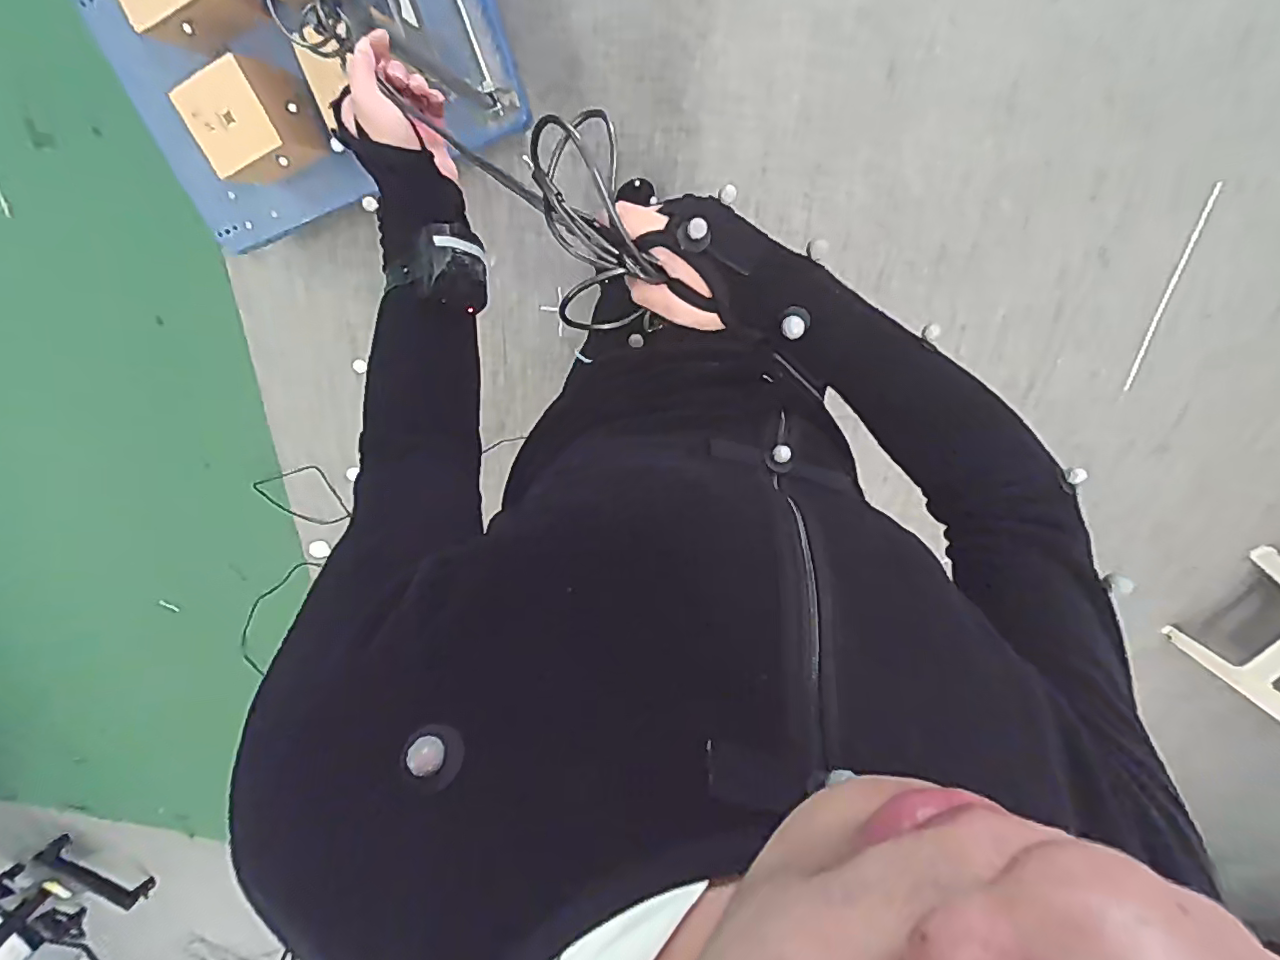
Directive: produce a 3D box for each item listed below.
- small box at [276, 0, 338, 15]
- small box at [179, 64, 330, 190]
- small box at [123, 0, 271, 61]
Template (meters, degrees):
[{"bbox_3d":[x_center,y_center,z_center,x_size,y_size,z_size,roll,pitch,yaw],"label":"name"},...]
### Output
[{"bbox_3d":[-0.657,-1.022,1.011,0.179,0.176,0.168,-12,114,13],"label":"small box"},{"bbox_3d":[-0.810,-0.746,1.163,0.179,0.176,0.168,-17,112,15],"label":"small box"},{"bbox_3d":[-0.889,-0.969,1.065,0.179,0.176,0.168,-16,113,14],"label":"small box"}]
